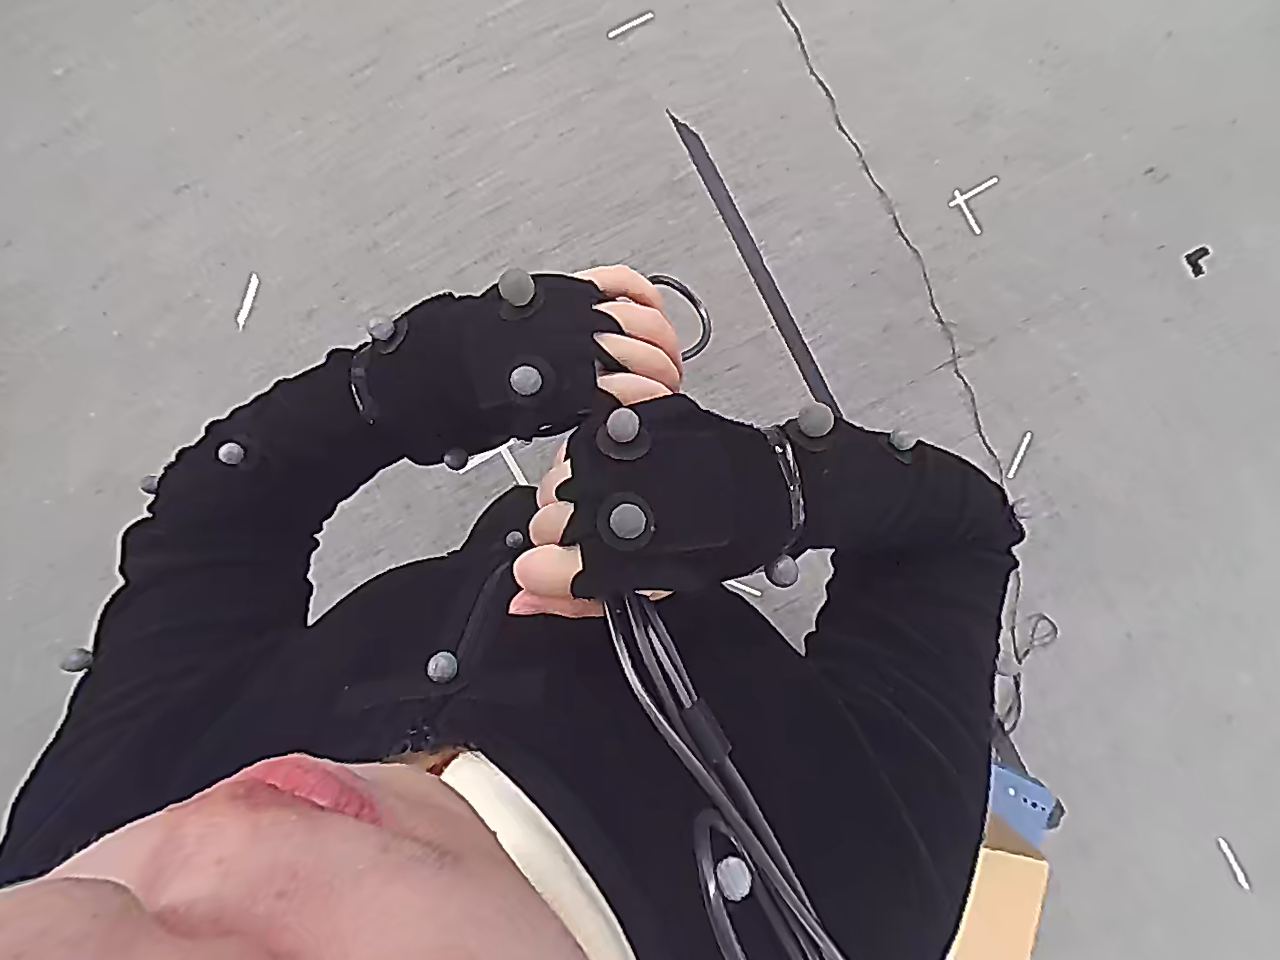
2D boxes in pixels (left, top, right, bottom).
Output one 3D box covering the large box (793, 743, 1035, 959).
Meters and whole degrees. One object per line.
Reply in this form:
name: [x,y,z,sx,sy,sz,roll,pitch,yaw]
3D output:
large box: [0.558,0.858,1.167,0.320,0.320,0.408,13,90,1]
